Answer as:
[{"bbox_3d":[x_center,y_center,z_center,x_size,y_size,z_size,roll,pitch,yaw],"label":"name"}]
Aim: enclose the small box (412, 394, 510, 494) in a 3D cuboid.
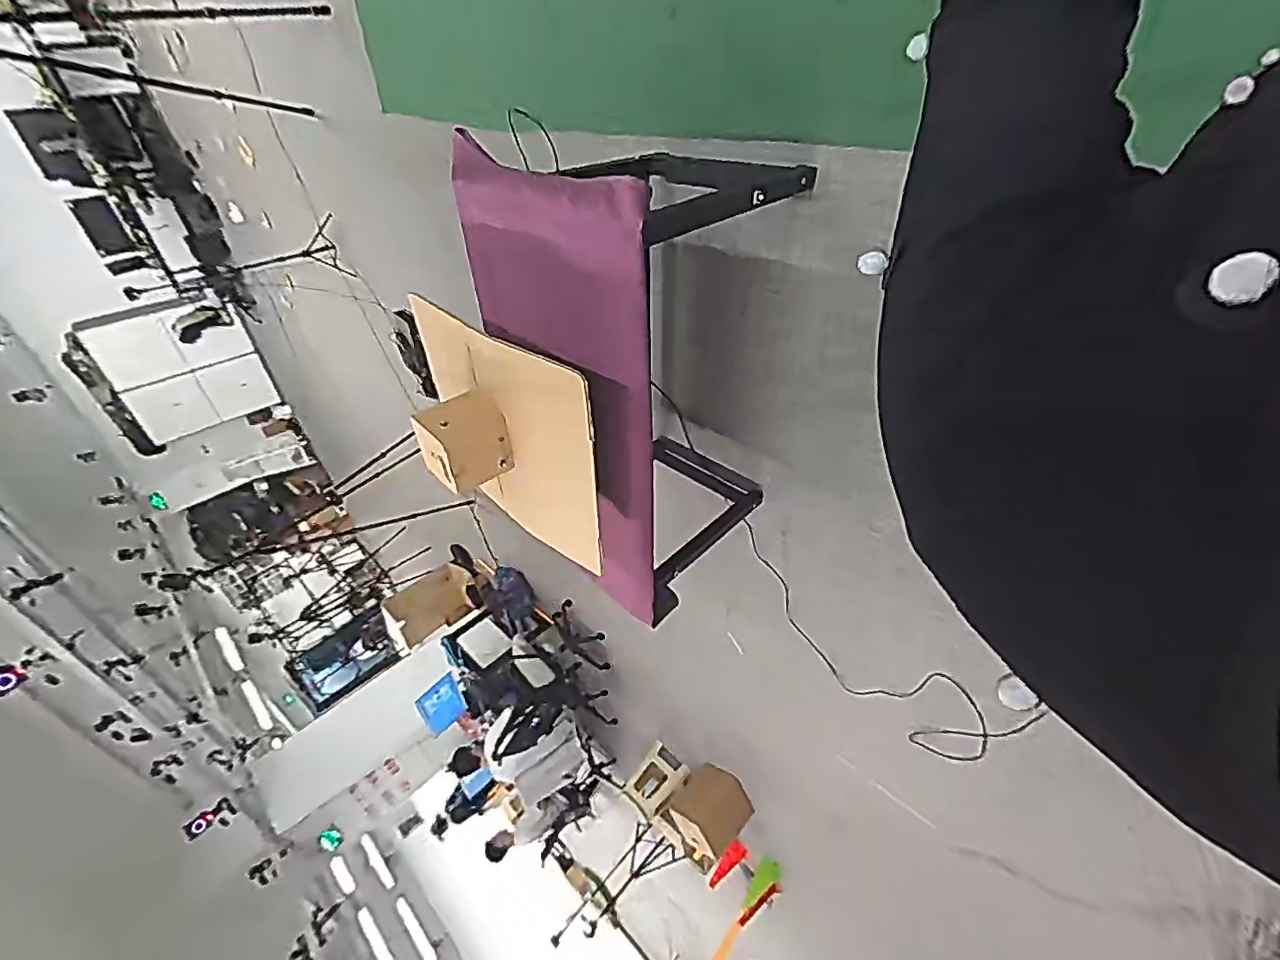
[{"bbox_3d":[-0.448,-0.101,1.386,0.179,0.176,0.168,34,140,35],"label":"small box"}]
